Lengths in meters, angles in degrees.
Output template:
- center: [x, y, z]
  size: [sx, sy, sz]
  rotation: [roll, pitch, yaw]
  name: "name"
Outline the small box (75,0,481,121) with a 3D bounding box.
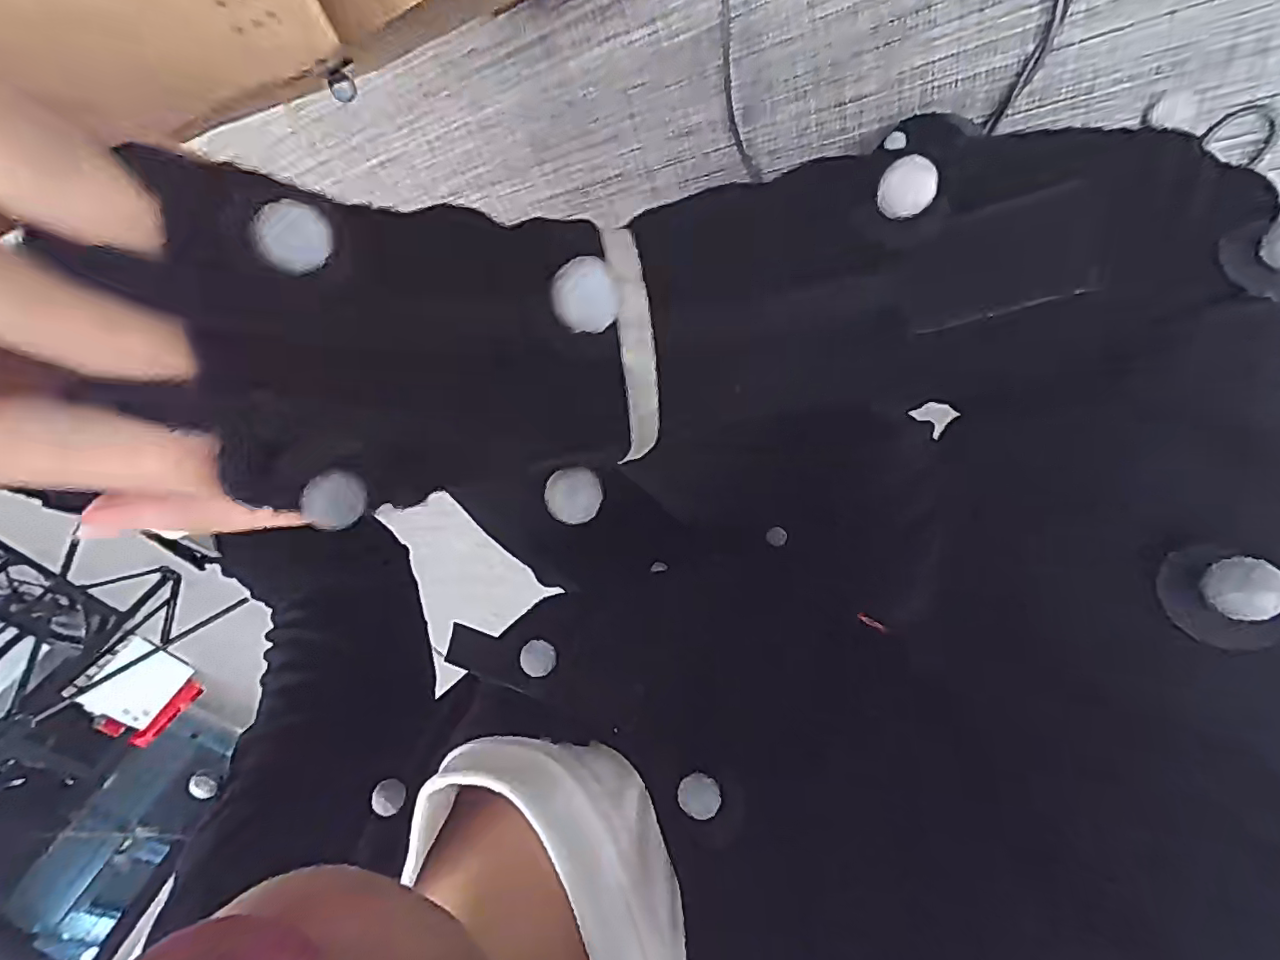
- center: [-0.159, -0.293, 0.234]
  size: [0.179, 0.176, 0.168]
  rotation: [-2, 135, 26]
  name: "small box"
